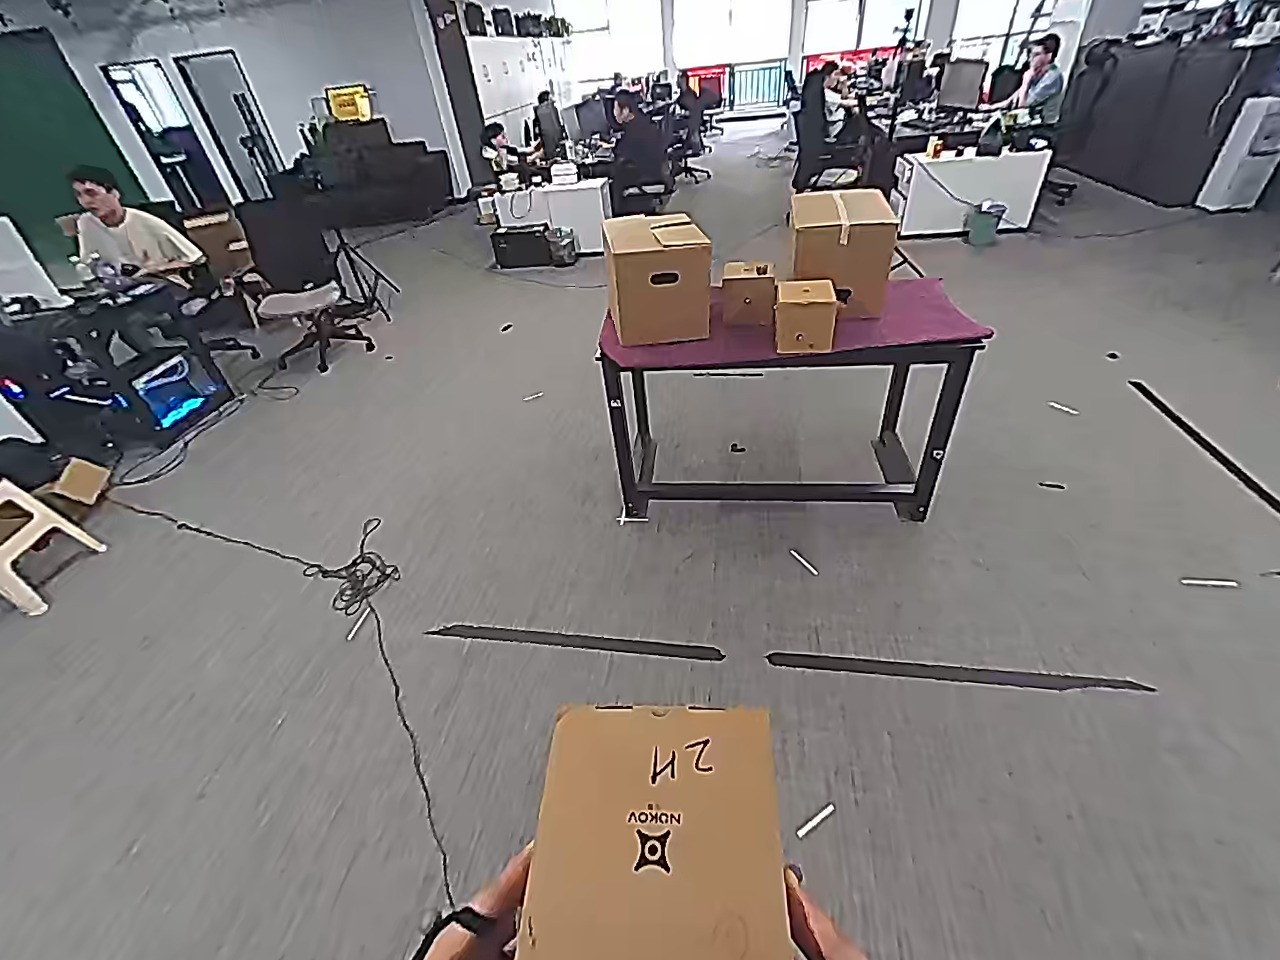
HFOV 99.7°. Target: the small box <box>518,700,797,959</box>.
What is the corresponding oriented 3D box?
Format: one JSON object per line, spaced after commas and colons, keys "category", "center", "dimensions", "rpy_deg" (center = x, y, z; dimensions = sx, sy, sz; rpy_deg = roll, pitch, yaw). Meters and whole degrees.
{"category": "small box", "center": [0.022, 0.289, 0.411], "dimensions": [0.168, 0.176, 0.179], "rpy_deg": [-2, 43, 7]}
